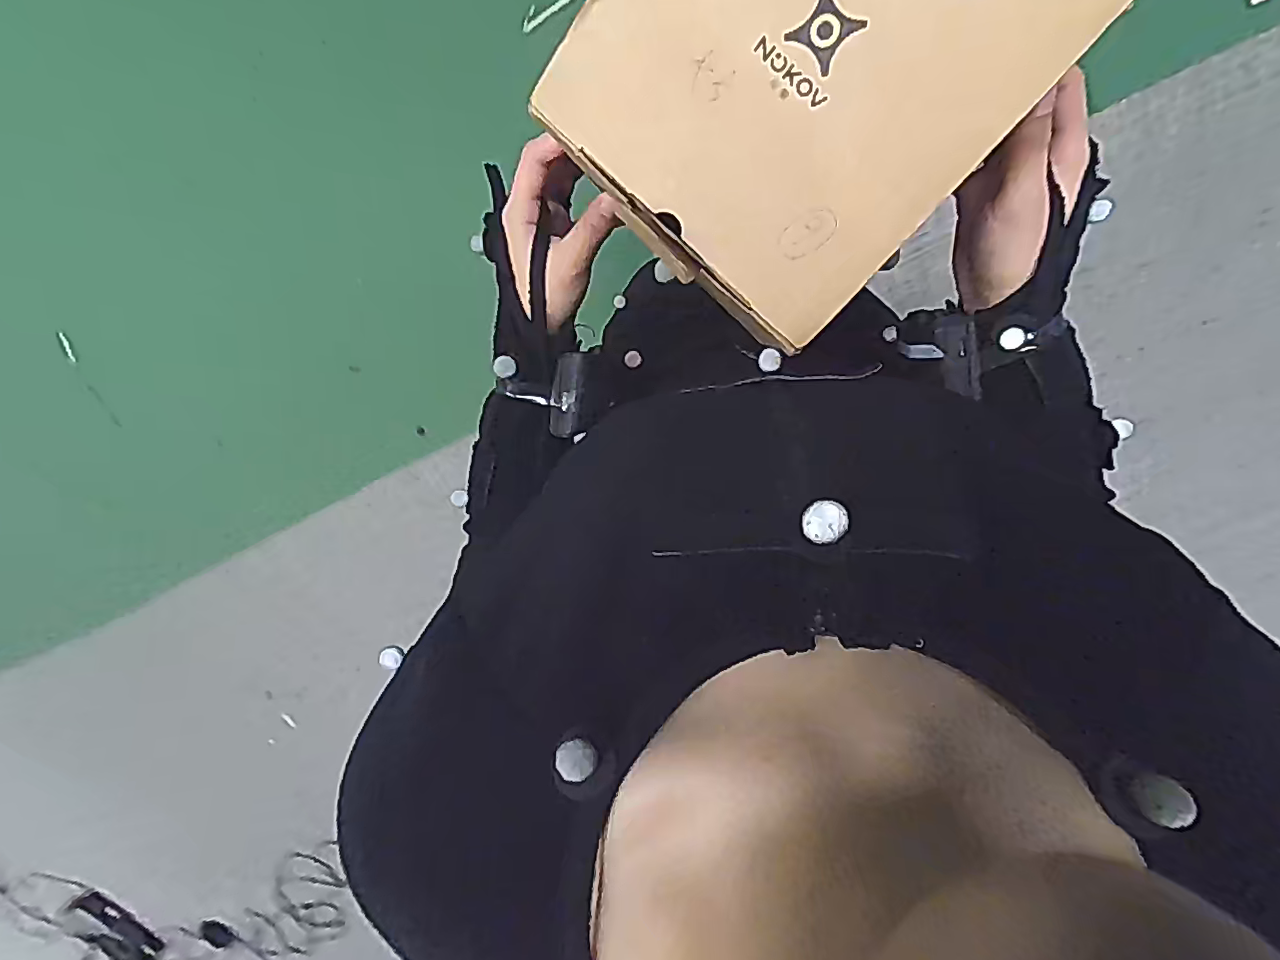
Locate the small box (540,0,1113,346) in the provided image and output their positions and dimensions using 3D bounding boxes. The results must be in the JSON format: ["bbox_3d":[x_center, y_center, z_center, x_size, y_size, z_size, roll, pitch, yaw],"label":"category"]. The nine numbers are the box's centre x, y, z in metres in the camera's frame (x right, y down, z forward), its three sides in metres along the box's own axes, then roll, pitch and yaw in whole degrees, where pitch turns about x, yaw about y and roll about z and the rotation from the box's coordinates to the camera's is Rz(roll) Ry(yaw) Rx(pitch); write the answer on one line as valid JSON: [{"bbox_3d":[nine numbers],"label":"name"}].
[{"bbox_3d":[0.080,-0.197,0.302,0.168,0.176,0.179,42,108,-4],"label":"small box"}]
